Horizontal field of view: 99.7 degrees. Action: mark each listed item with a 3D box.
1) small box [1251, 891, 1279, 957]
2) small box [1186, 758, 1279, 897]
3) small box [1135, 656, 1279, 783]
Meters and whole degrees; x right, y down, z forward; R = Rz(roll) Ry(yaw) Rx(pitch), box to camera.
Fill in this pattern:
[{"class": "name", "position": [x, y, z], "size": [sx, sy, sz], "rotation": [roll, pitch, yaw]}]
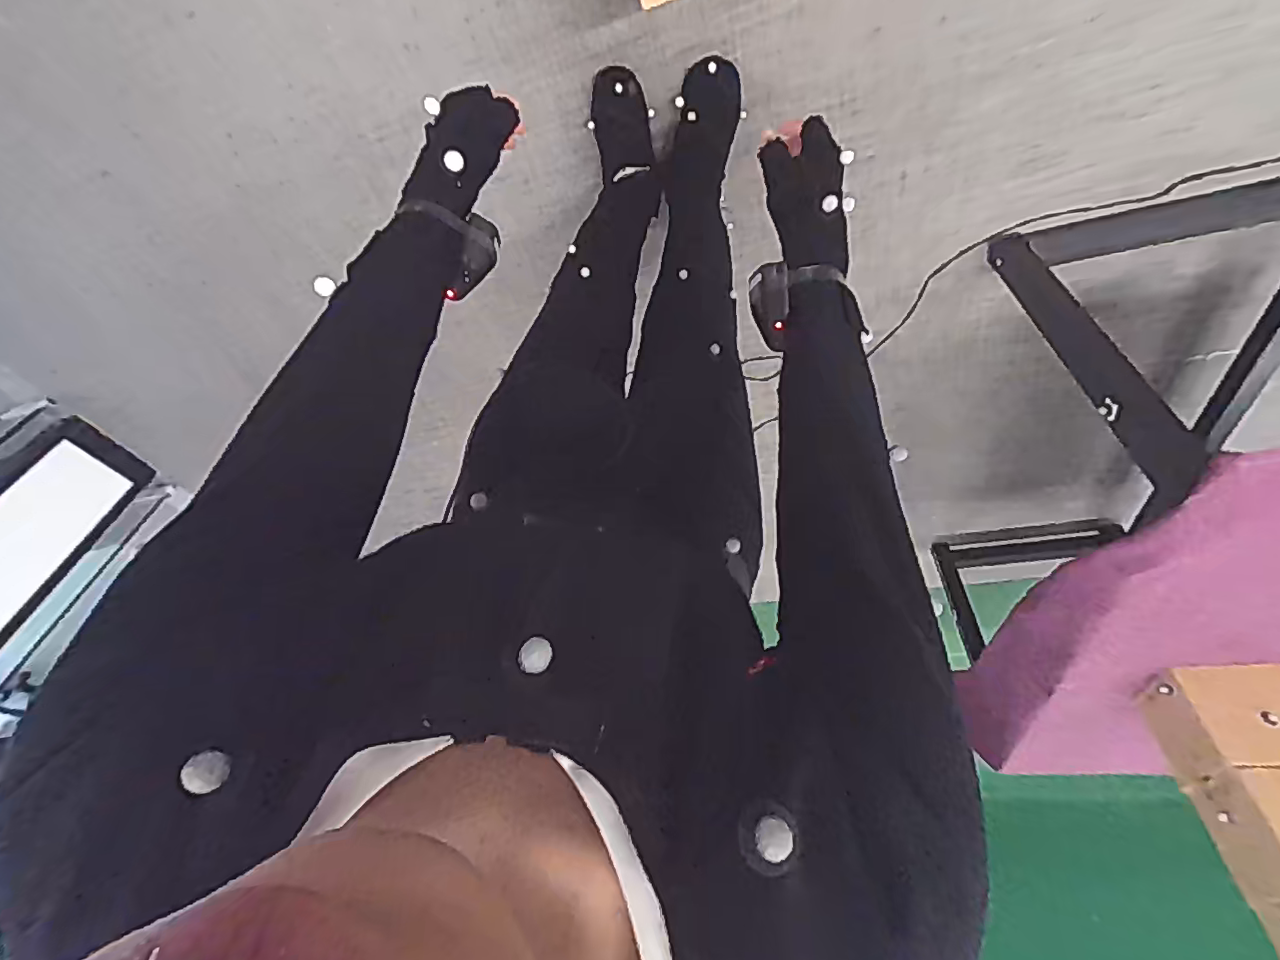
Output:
[{"class": "small box", "position": [1.034, 0.669, 0.740], "size": [0.179, 0.176, 0.168], "rotation": [-7, 137, 14]}, {"class": "small box", "position": [1.040, 0.547, 0.848], "size": [0.179, 0.176, 0.168], "rotation": [-7, 137, 14]}, {"class": "small box", "position": [1.044, 0.426, 0.959], "size": [0.179, 0.176, 0.168], "rotation": [-8, 137, 13]}]
